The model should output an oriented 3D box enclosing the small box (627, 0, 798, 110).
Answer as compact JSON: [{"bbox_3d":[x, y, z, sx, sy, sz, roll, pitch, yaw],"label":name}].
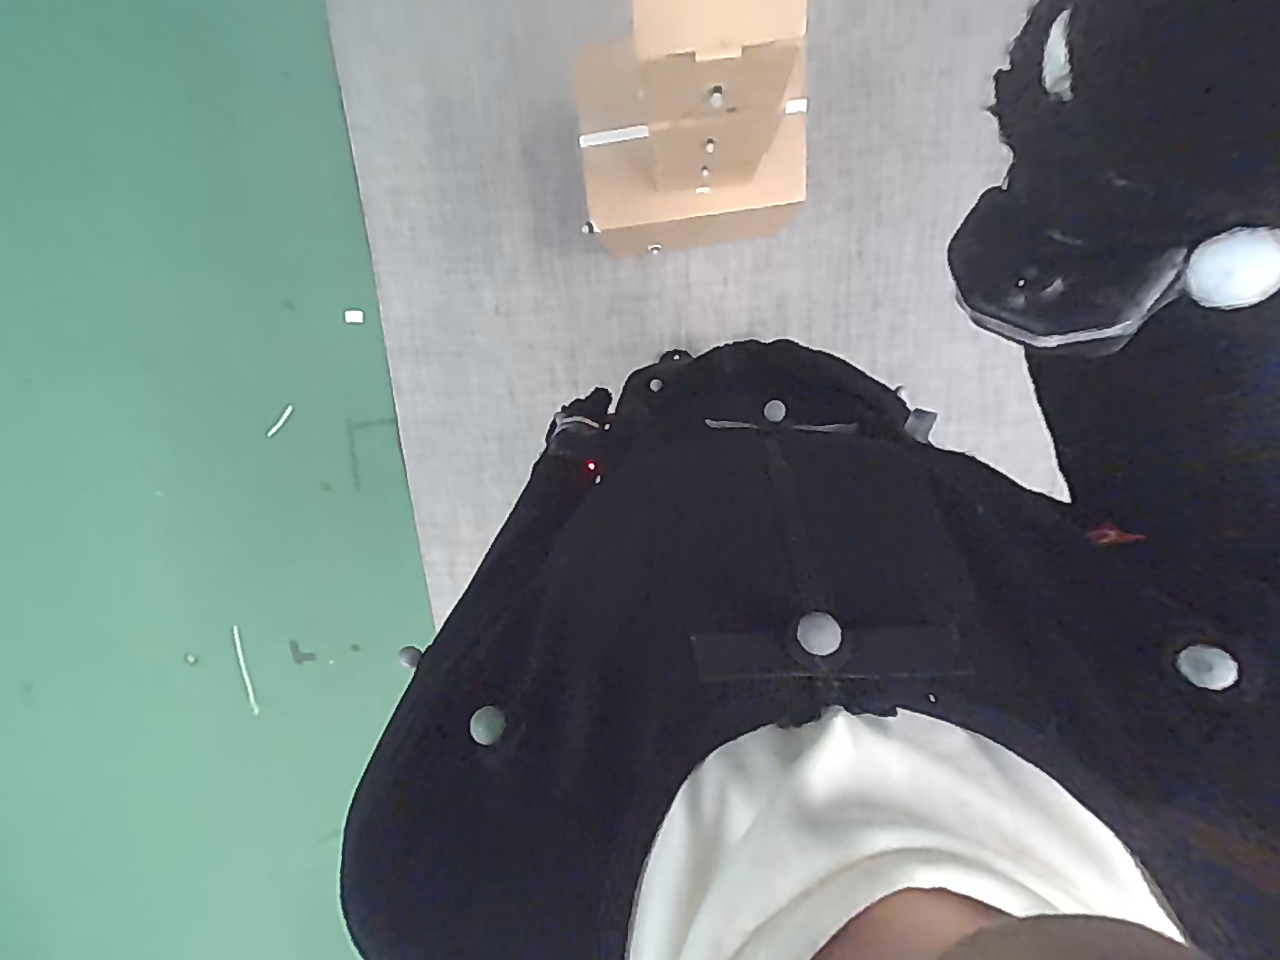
[{"bbox_3d":[0.076,-0.521,0.577,0.168,0.176,0.179,0,106,6],"label":"small box"}]

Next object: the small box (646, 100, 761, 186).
[{"bbox_3d":[0.102,-0.602,0.893,0.179,0.176,0.168,-3,105,5],"label":"small box"}]

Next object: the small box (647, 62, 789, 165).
[{"bbox_3d":[0.094,-0.554,0.737,0.179,0.176,0.168,-7,105,7],"label":"small box"}]
